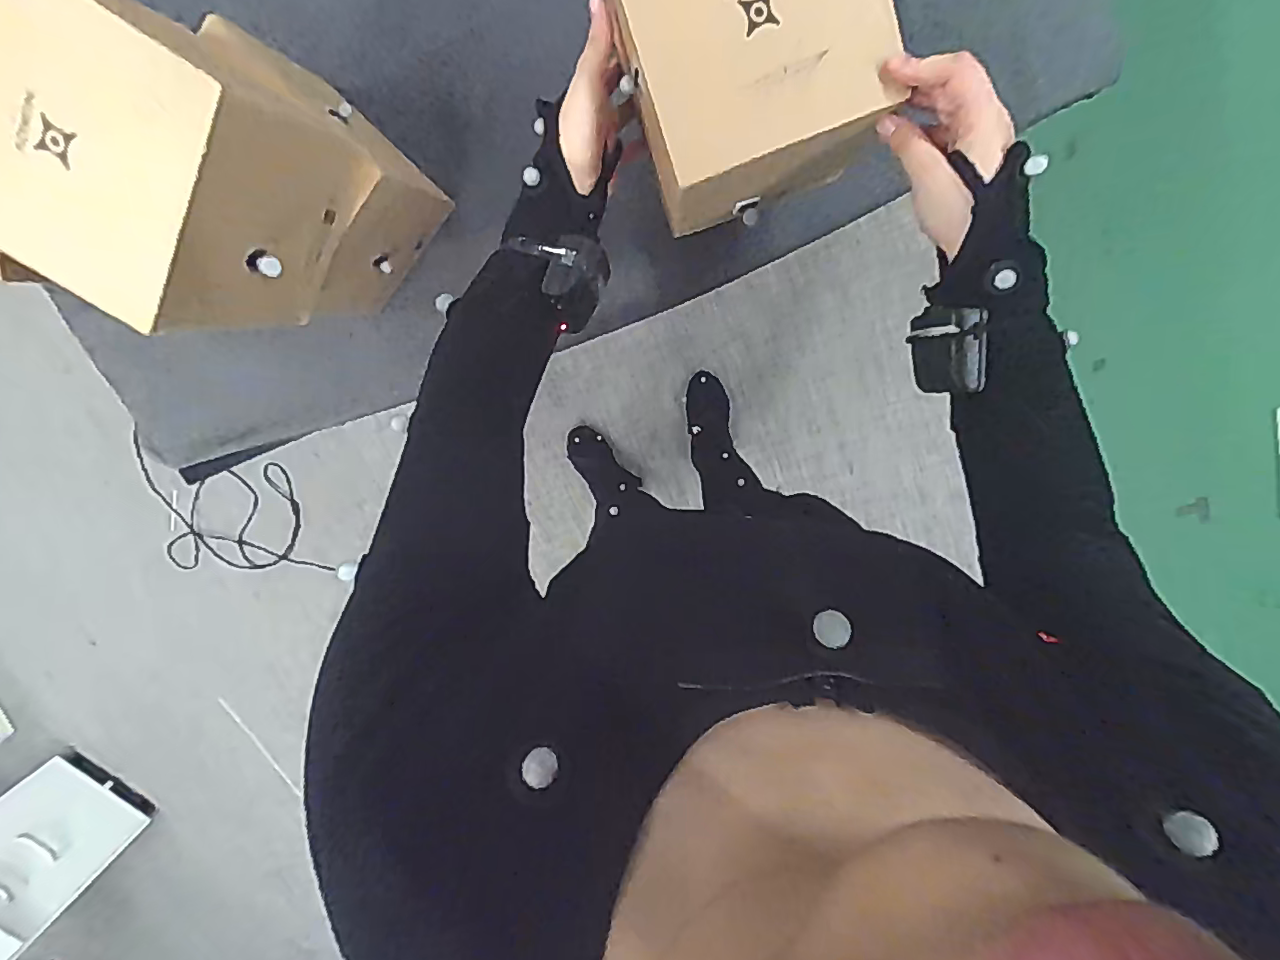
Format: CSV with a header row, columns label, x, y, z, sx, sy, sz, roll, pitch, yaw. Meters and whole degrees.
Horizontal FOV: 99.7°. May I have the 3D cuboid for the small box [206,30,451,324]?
label,x,y,z,sx,sy,sz,roll,pitch,yaw
small box,-0.328,-0.284,0.552,0.179,0.176,0.168,42,105,-9

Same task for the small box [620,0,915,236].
label,x,y,z,sx,sy,sz,roll,pitch,yaw
small box,0.085,-0.325,0.433,0.168,0.176,0.179,-18,101,8

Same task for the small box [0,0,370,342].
label,x,y,z,sx,sy,sz,roll,pitch,yaw
small box,-0.342,-0.225,0.401,0.179,0.176,0.168,32,108,-6
